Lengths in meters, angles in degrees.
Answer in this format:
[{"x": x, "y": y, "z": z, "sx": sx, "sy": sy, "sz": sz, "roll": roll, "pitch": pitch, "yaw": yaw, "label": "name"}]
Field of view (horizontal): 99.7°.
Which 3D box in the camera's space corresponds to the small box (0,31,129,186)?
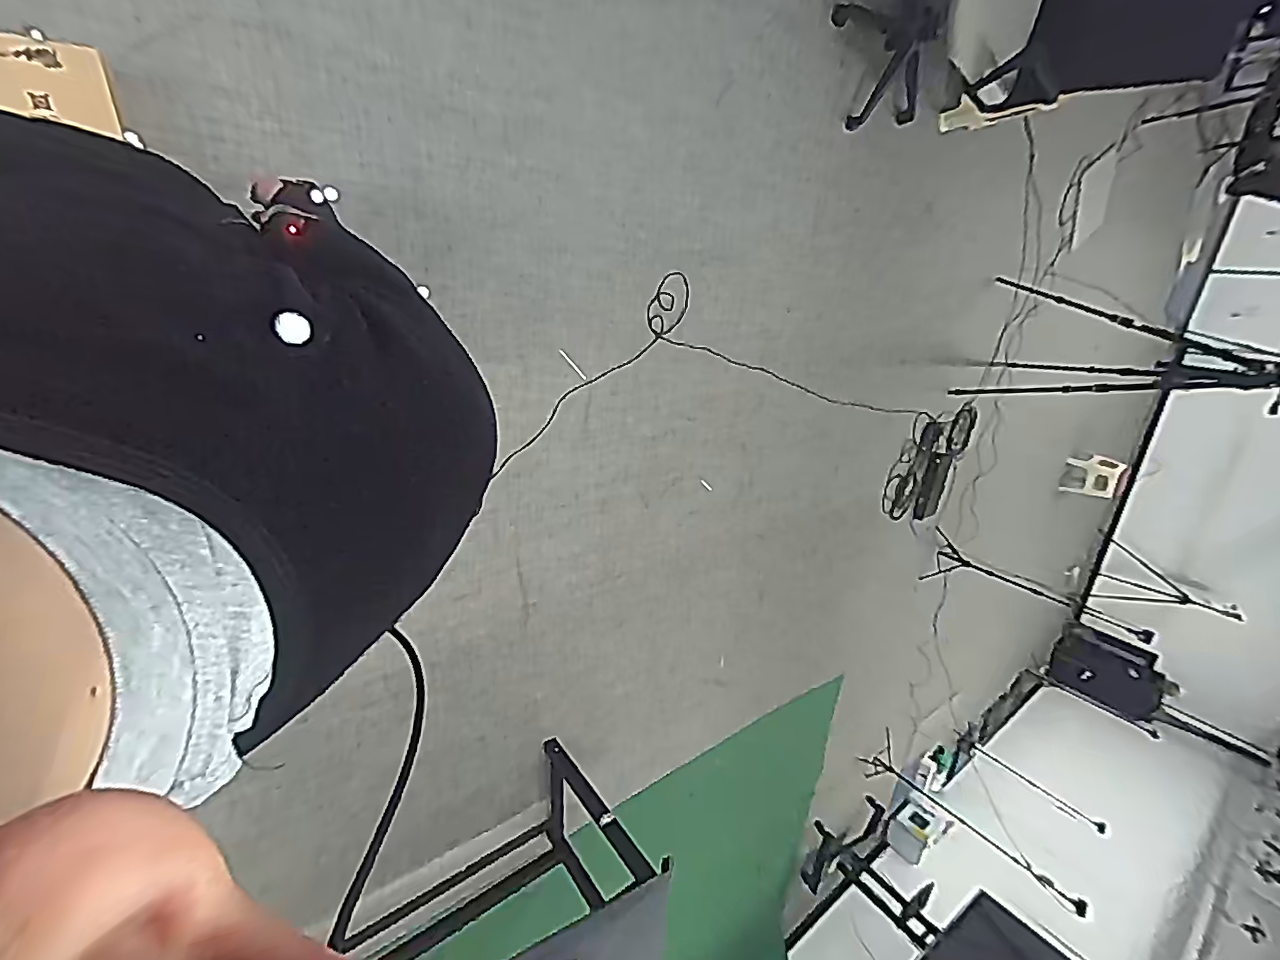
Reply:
[{"x": -0.919, "y": -0.556, "z": 0.824, "sx": 0.168, "sy": 0.176, "sz": 0.179, "roll": -16, "pitch": 118, "yaw": -34, "label": "small box"}]
